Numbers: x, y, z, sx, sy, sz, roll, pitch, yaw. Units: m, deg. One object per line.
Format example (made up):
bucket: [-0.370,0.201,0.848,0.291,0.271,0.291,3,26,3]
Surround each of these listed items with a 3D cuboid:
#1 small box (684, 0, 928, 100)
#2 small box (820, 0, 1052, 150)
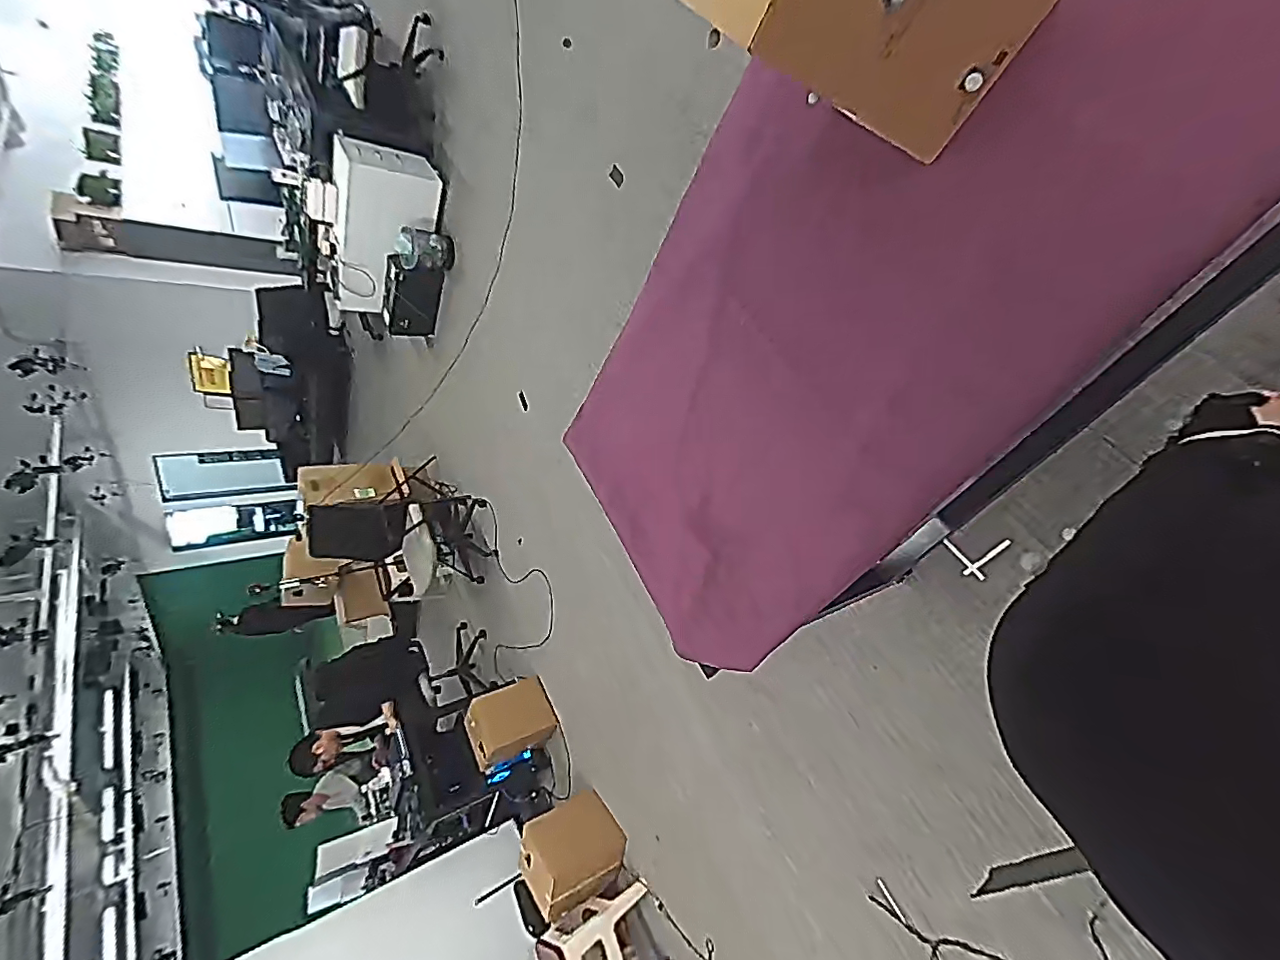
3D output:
small box: [0.139,-0.459,0.452,0.179,0.176,0.168,59,137,27]
small box: [0.267,-0.475,0.555,0.179,0.176,0.168,59,137,26]
